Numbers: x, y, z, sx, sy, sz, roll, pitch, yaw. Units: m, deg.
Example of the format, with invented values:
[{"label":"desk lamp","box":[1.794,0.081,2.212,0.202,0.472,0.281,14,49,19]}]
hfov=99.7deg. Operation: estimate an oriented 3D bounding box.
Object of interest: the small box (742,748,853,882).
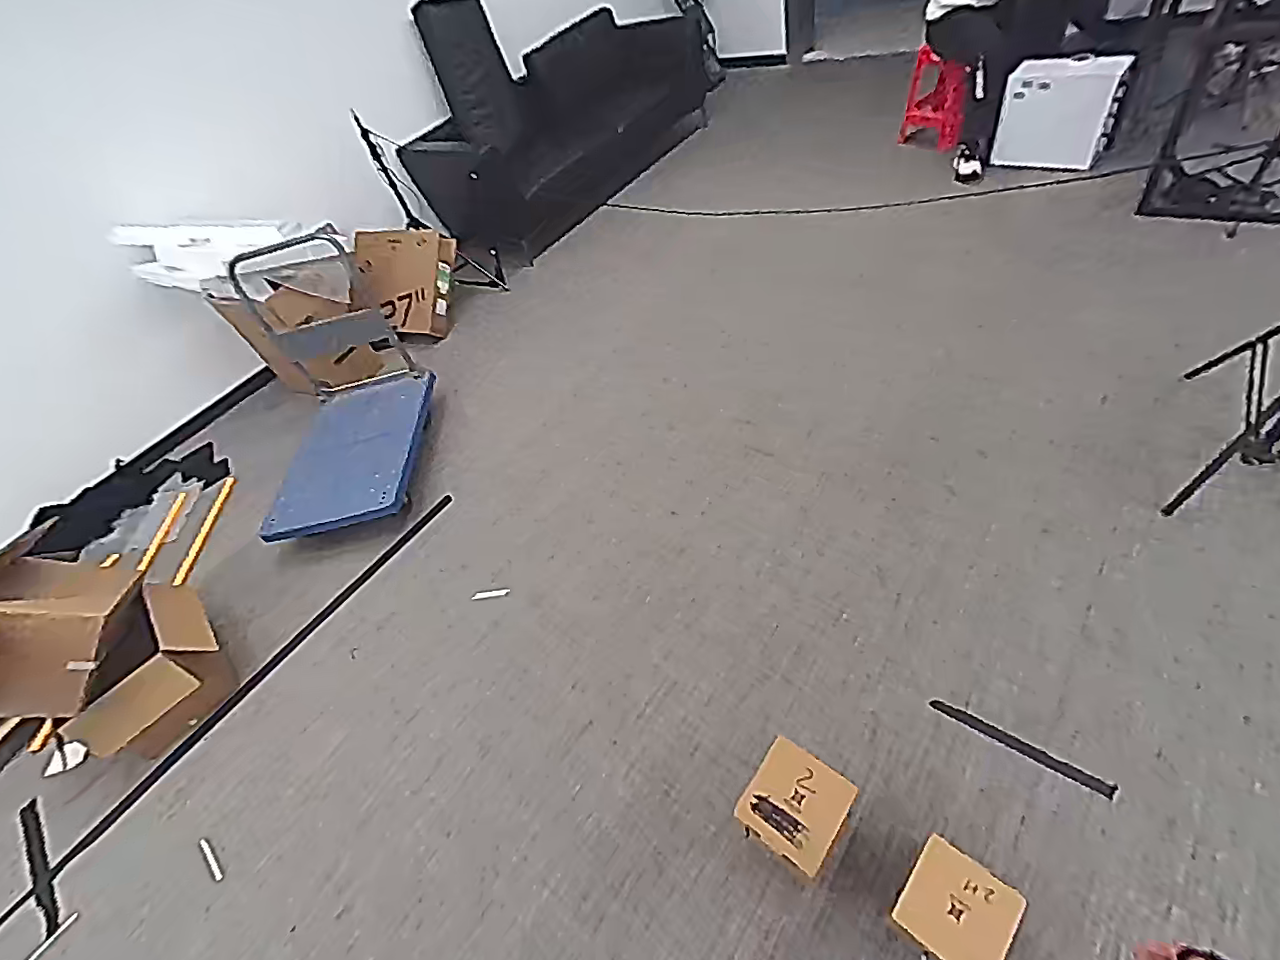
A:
[{"label":"small box","box":[0.343,0.732,1.181,0.168,0.176,0.179,26,63,34]}]

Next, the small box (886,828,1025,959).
[{"label":"small box","box":[0.588,0.813,1.027,0.168,0.176,0.179,28,63,34]}]
